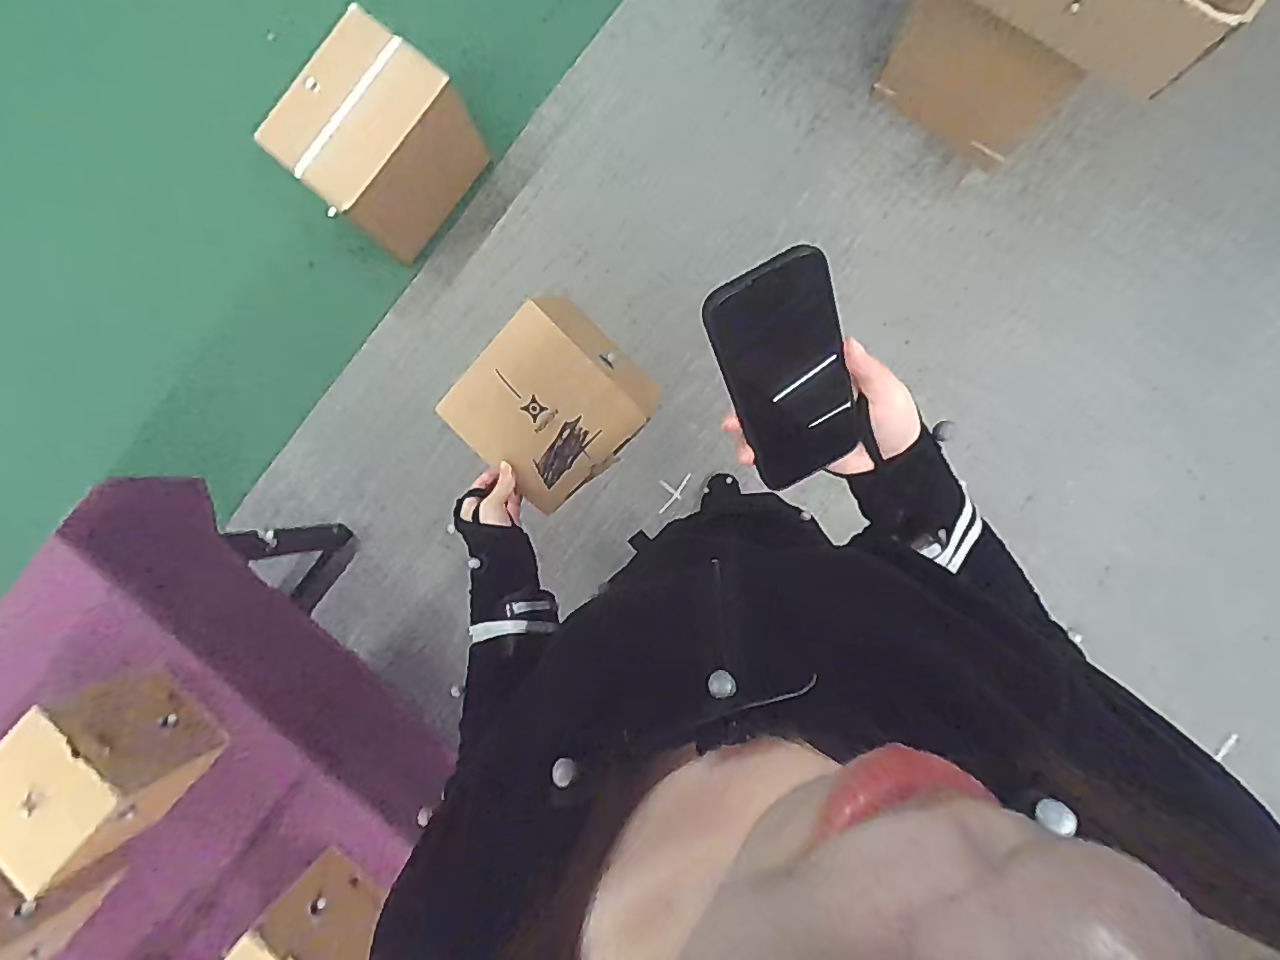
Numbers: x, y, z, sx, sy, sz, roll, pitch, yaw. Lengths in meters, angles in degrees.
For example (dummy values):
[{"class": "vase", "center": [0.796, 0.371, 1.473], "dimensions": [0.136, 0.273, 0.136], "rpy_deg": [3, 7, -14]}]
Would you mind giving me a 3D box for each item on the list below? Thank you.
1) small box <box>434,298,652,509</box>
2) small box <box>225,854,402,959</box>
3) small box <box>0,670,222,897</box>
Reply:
[{"class": "small box", "center": [-0.101, -0.102, 0.656], "dimensions": [0.168, 0.176, 0.179], "rpy_deg": [-41, 100, 16]}, {"class": "small box", "center": [-0.451, 0.656, 0.715], "dimensions": [0.168, 0.176, 0.179], "rpy_deg": [38, 92, 6]}, {"class": "small box", "center": [-0.744, 0.400, 0.747], "dimensions": [0.168, 0.176, 0.179], "rpy_deg": [43, 91, 4]}]
